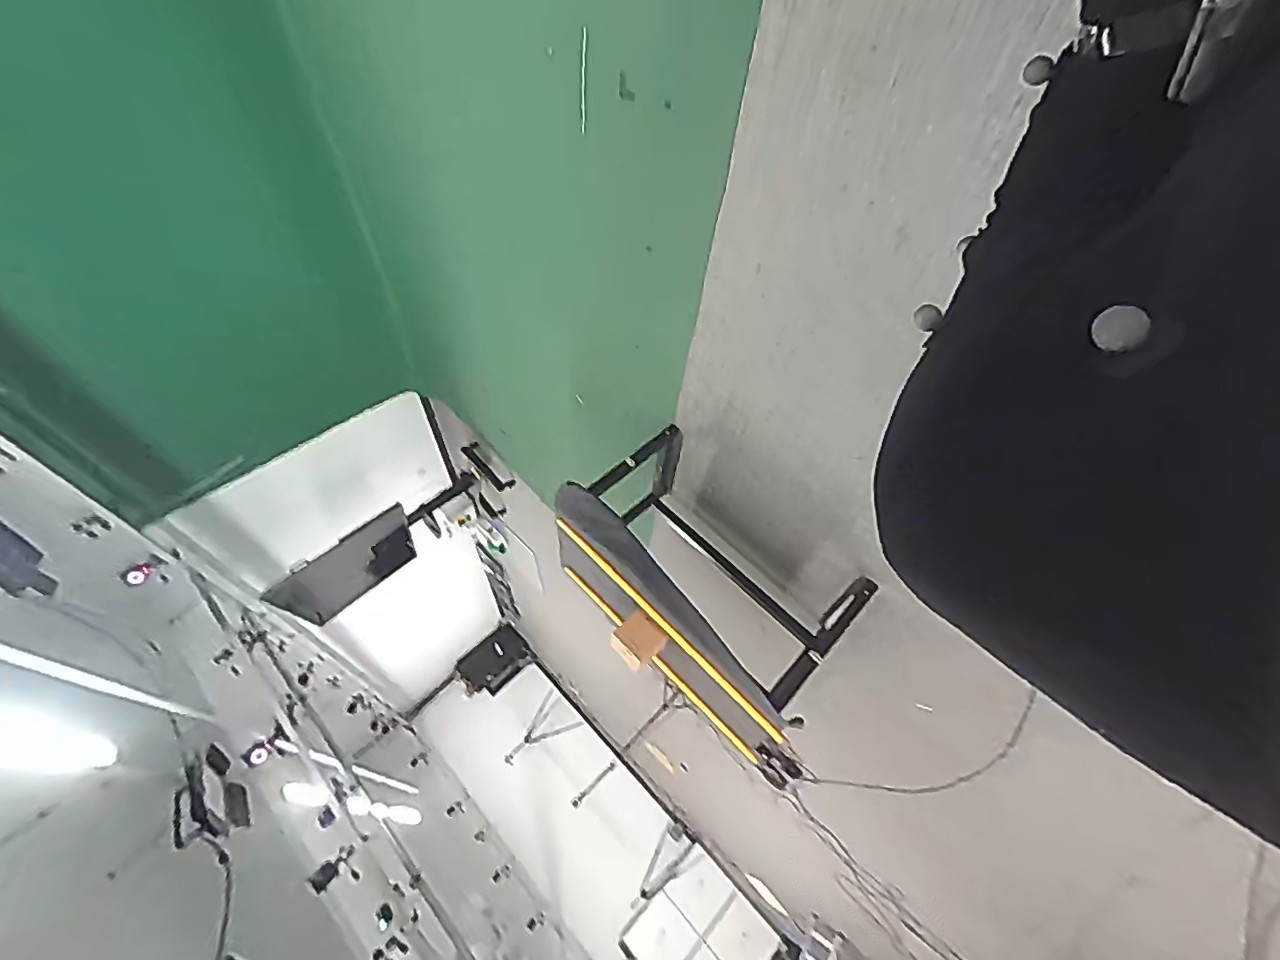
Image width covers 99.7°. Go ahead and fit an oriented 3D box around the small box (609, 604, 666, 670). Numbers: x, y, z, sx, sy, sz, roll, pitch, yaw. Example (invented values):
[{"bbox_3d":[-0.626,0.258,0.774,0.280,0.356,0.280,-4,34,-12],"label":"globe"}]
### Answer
[{"bbox_3d":[-0.010,0.648,2.235,0.168,0.176,0.179,41,152,20],"label":"small box"}]
